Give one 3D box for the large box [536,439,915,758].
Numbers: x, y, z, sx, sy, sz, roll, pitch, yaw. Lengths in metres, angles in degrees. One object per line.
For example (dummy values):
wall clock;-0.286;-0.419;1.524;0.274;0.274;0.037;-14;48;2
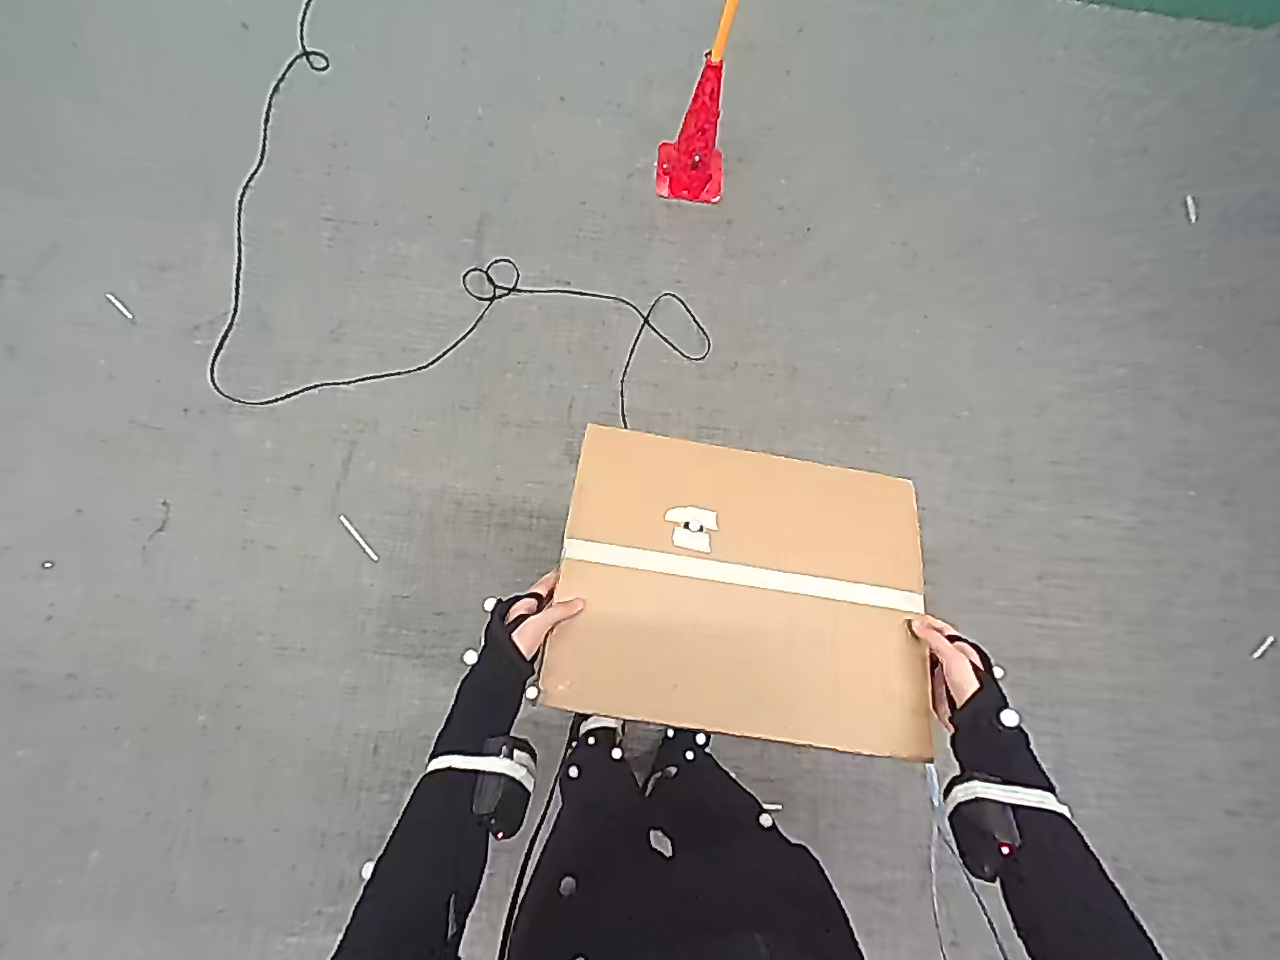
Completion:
large box;0.096;0.172;0.744;0.408;0.320;0.320;10;67;-2
